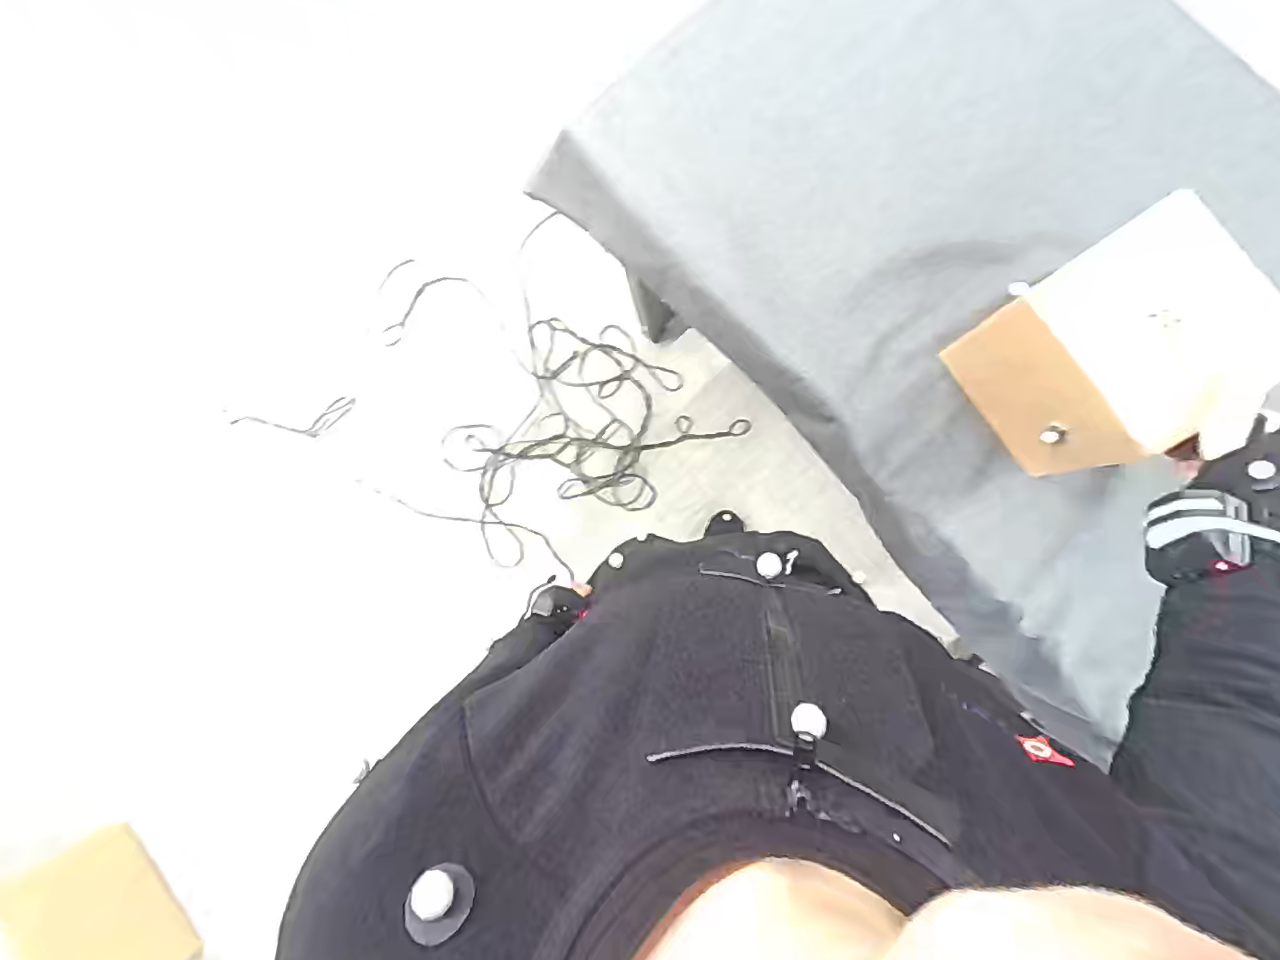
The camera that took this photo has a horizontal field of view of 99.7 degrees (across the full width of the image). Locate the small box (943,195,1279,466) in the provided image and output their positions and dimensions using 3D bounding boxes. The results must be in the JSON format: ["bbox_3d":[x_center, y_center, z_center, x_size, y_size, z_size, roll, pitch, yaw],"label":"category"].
[{"bbox_3d":[0.453,-0.127,0.539,0.168,0.176,0.179,-34,82,1],"label":"small box"}]

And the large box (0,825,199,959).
[{"bbox_3d":[-1.397,1.159,1.290,0.320,0.320,0.408,-42,82,0],"label":"large box"}]
